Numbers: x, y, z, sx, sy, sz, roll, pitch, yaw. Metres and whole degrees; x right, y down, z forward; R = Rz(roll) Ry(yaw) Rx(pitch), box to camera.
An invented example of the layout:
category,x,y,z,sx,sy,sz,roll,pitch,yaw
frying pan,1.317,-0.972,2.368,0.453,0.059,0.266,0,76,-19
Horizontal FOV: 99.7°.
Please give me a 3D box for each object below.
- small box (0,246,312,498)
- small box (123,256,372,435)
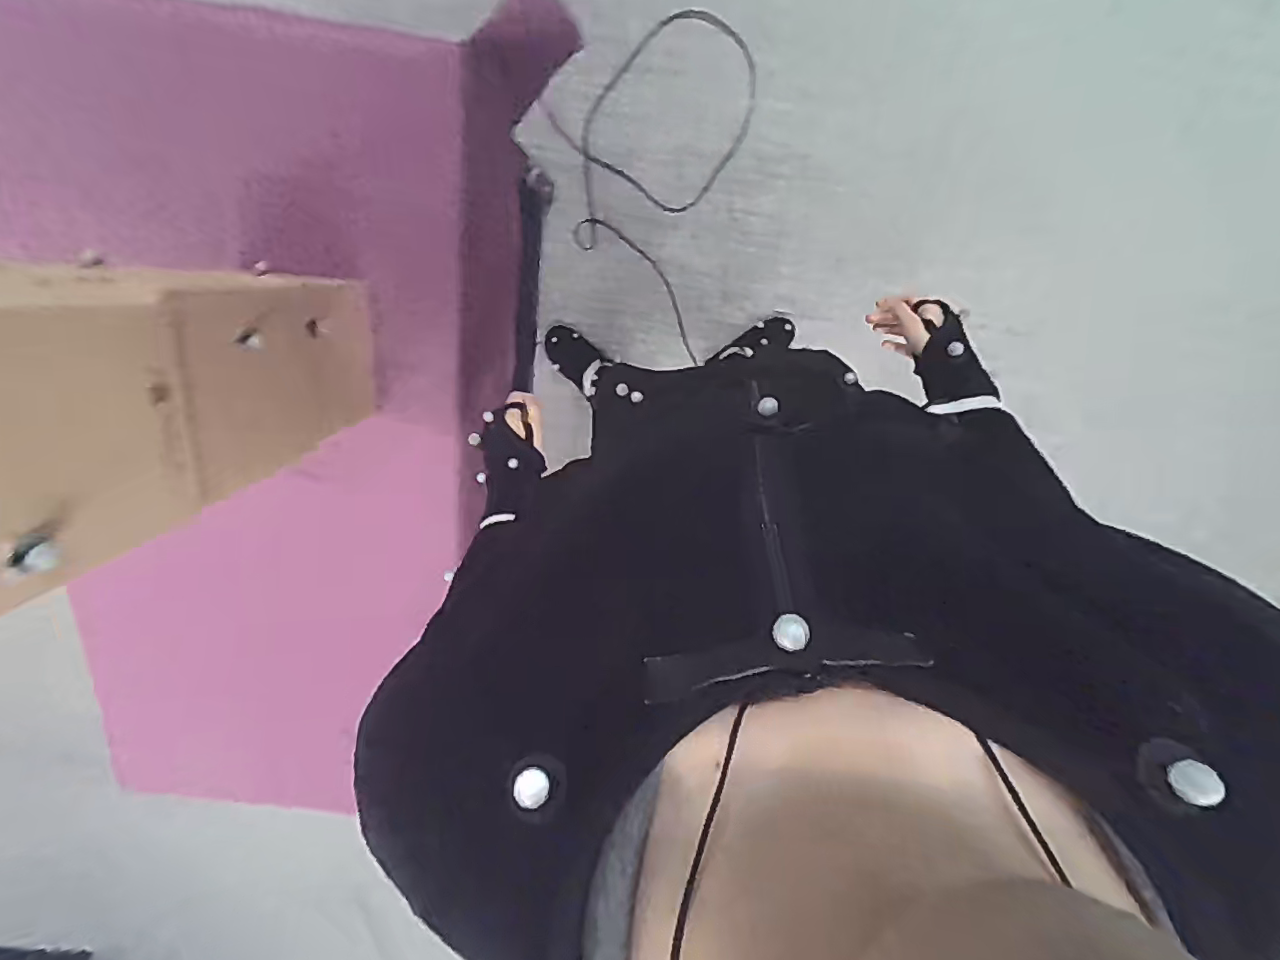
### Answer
category,x,y,z,sx,sy,sz,roll,pitch,yaw
small box,-0.425,-0.102,0.481,0.168,0.176,0.179,7,109,0
small box,-0.439,-0.157,0.635,0.168,0.176,0.179,5,109,0
